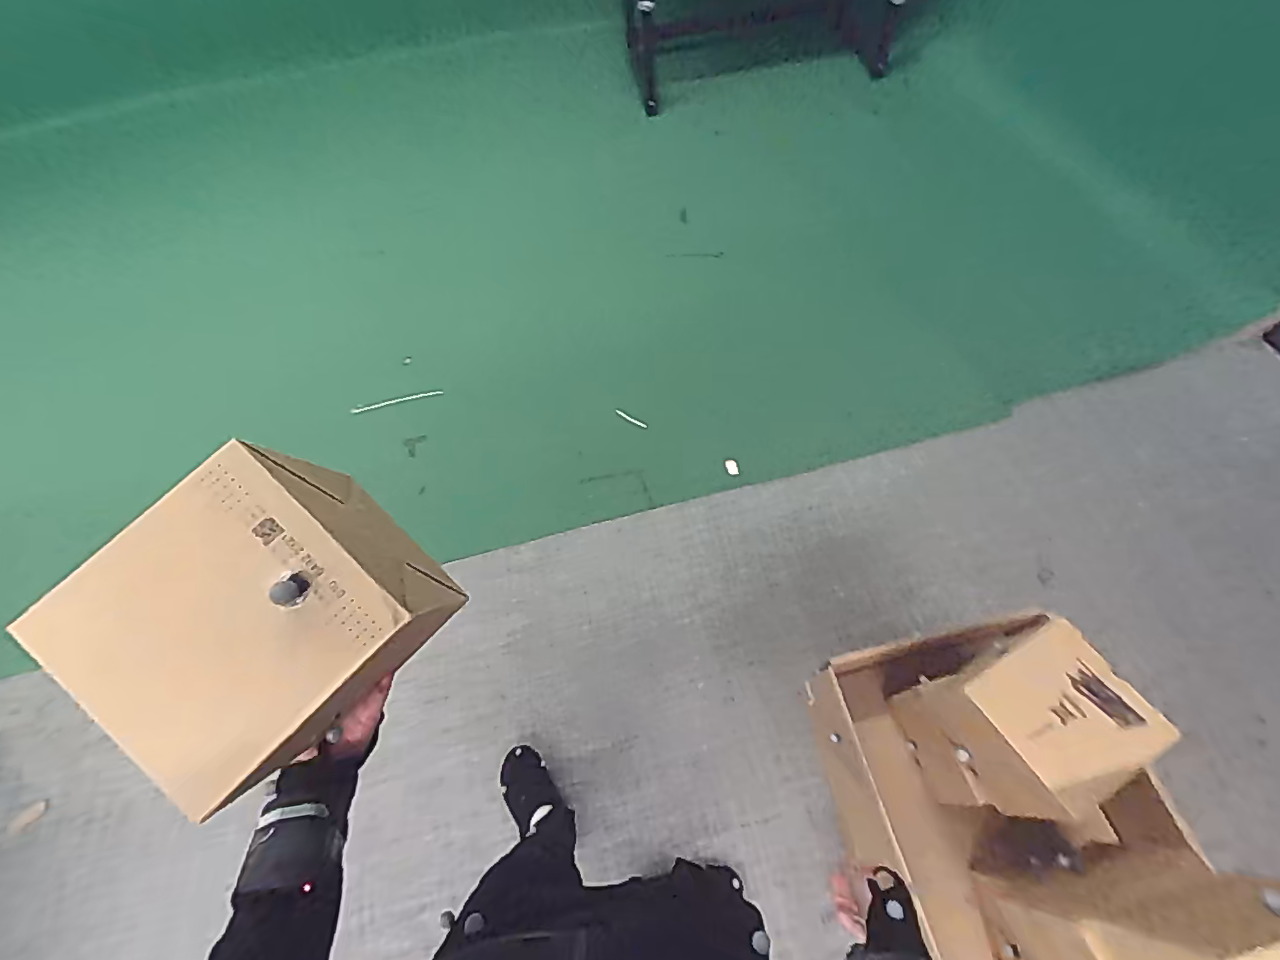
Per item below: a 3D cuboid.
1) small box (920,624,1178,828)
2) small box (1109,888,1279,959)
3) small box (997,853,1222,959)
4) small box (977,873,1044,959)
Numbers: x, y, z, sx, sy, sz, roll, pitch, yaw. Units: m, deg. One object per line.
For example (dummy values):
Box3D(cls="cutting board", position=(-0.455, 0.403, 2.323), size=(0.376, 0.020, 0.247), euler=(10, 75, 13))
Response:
Box3D(cls="small box", position=(0.512, 0.320, 0.709), size=(0.179, 0.176, 0.168), euler=(-28, 62, -11))
Box3D(cls="small box", position=(0.545, 0.460, 0.442), size=(0.179, 0.176, 0.168), euler=(-12, 59, -4))
Box3D(cls="small box", position=(0.546, 0.537, 0.585), size=(0.168, 0.176, 0.179), euler=(-19, 59, -9))
Box3D(cls="small box", position=(0.583, 0.633, 0.717), size=(0.179, 0.176, 0.168), euler=(-4, 59, 2))
